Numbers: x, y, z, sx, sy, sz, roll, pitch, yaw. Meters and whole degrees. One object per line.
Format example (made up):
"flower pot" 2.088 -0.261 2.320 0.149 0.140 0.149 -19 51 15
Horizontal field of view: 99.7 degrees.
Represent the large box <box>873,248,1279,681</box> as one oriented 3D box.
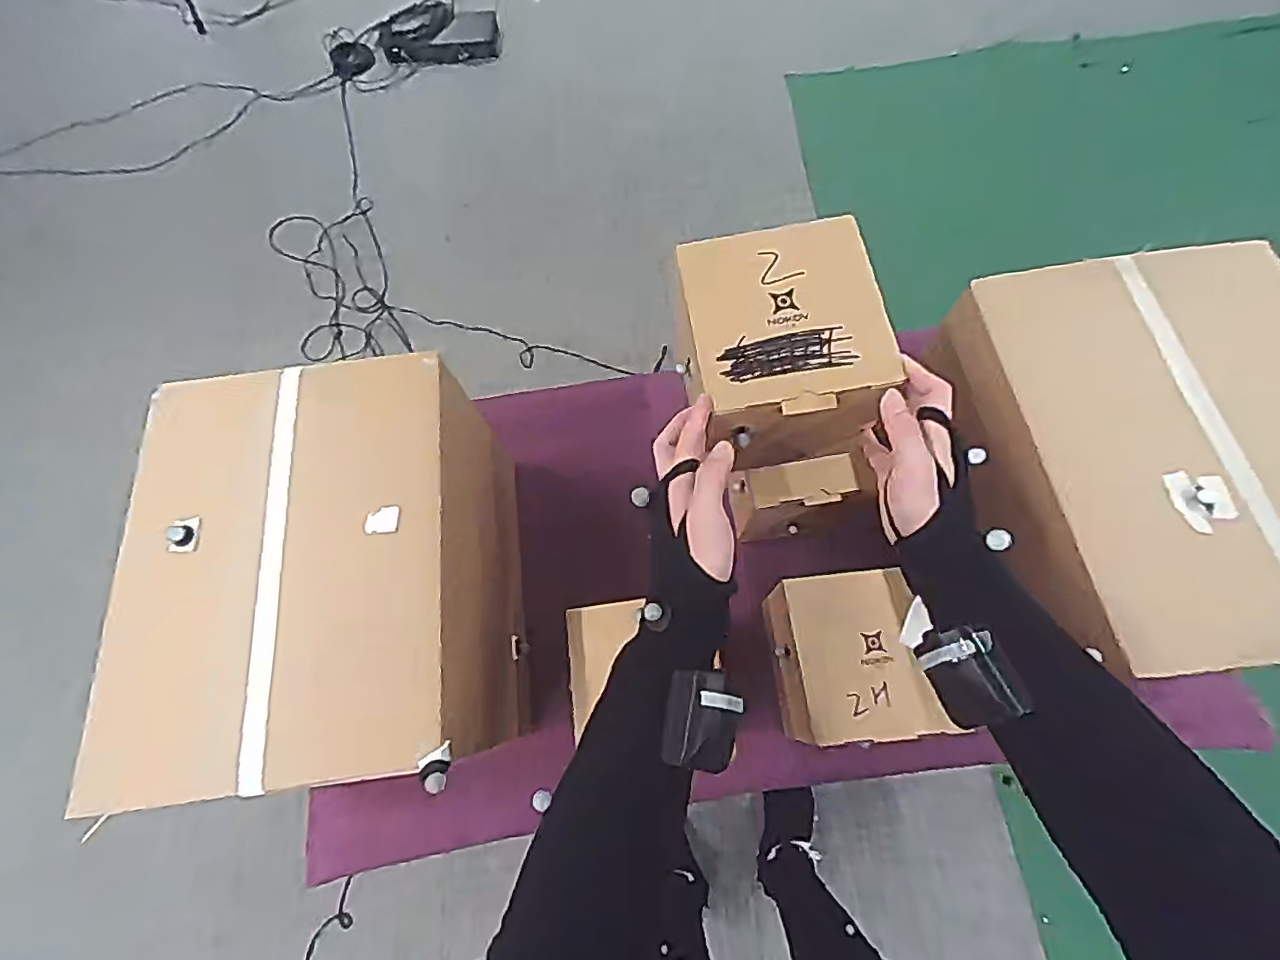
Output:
"large box" 0.530 0.006 0.642 0.320 0.320 0.408 -8 70 1
